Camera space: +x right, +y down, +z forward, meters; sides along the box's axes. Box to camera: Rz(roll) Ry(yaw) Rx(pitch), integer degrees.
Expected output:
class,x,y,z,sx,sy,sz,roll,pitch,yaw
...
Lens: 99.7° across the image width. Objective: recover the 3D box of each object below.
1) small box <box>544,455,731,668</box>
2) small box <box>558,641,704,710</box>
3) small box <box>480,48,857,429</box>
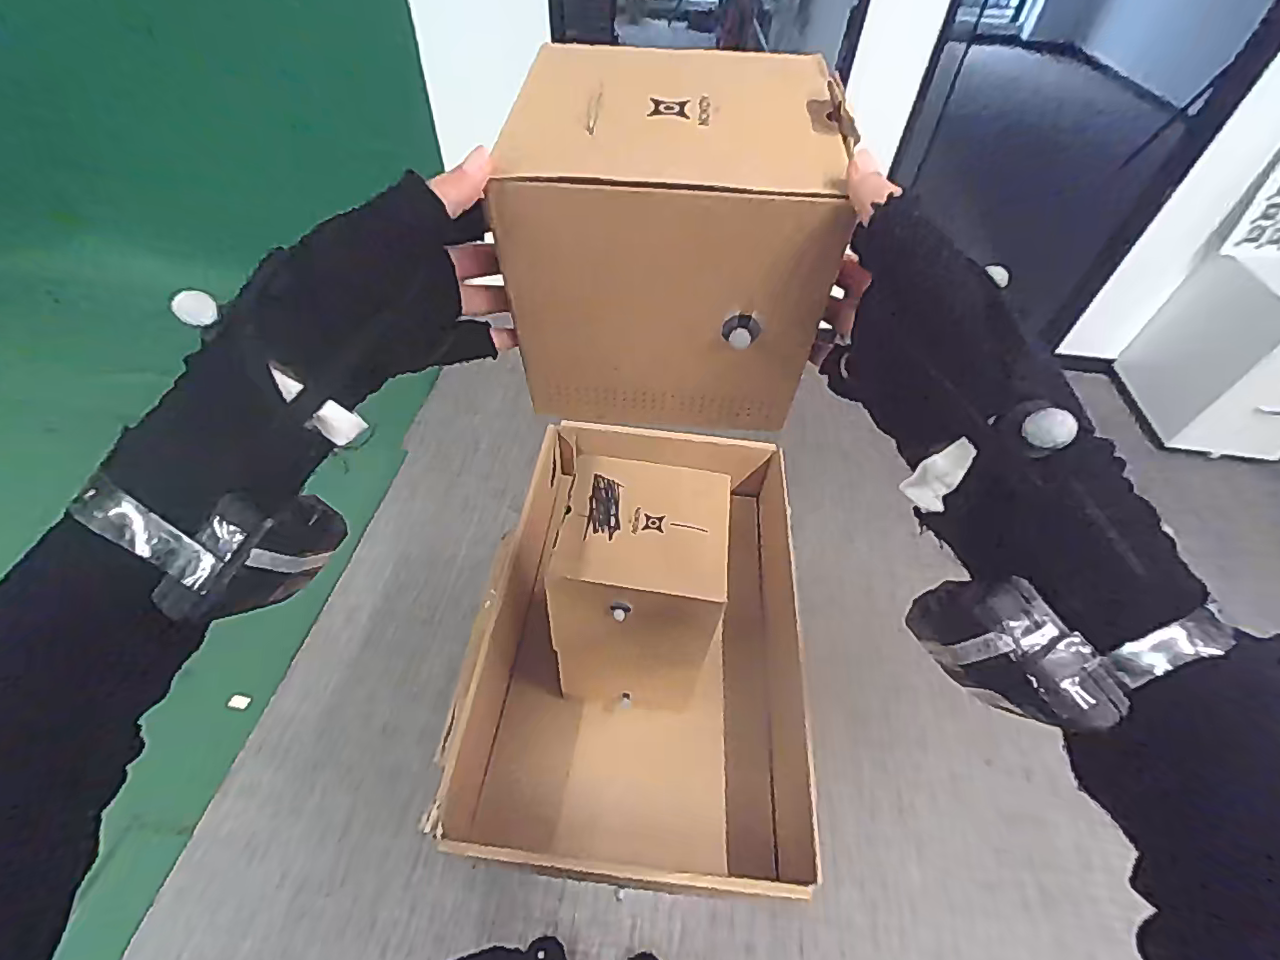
class,x,y,z,sx,sy,sz,roll,pitch,yaw
small box,0.000,0.096,0.621,0.179,0.176,0.168,9,48,2
small box,-0.010,0.202,0.746,0.179,0.176,0.168,7,47,1
small box,0.018,-0.149,0.355,0.179,0.176,0.168,3,55,3
